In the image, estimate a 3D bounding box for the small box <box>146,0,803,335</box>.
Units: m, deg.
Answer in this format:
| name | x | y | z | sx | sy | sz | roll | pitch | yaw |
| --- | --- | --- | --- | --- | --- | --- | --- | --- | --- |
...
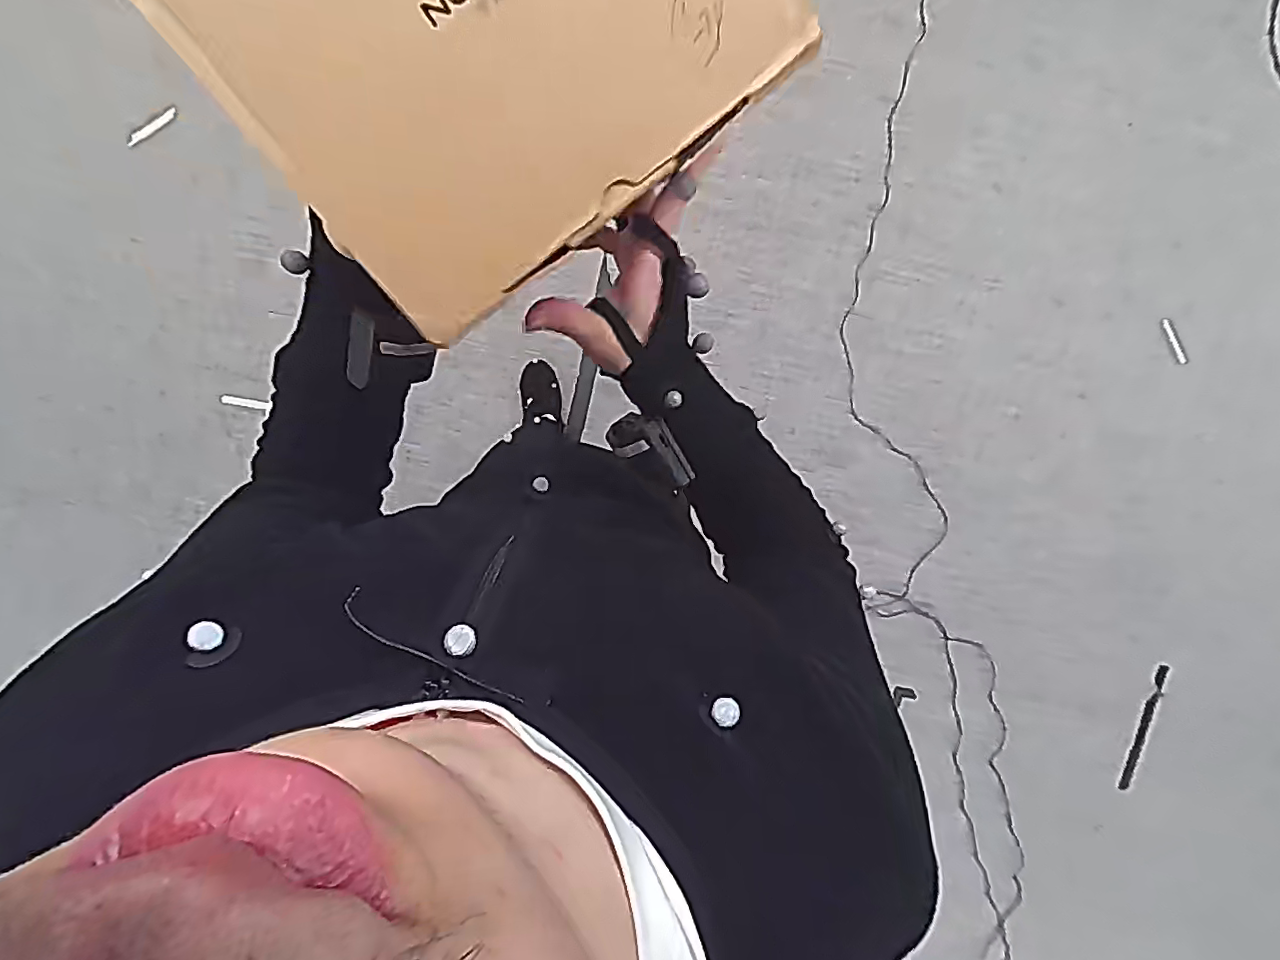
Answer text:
| name | x | y | z | sx | sy | sz | roll | pitch | yaw |
| --- | --- | --- | --- | --- | --- | --- | --- | --- | --- |
| small box | -0.066 | -0.194 | 0.235 | 0.168 | 0.176 | 0.179 | -37 | 113 | 9 |
